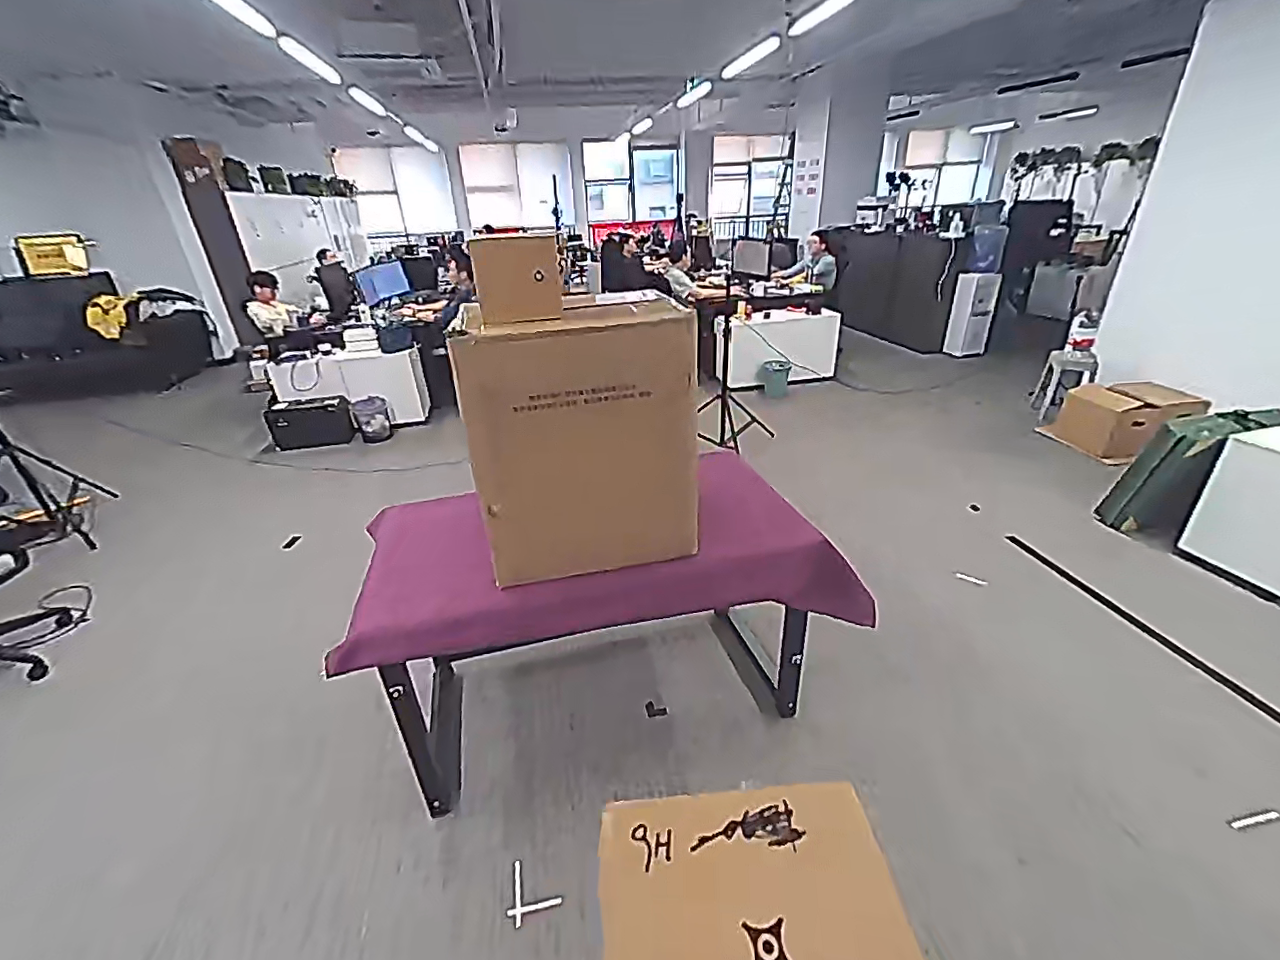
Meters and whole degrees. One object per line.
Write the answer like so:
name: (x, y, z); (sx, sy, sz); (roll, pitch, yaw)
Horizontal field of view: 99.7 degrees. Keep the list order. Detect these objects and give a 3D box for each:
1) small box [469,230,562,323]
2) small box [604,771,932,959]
small box: (-0.270, -0.450, 1.189); (0.179, 0.176, 0.168); (-9, 27, -11)
small box: (0.065, 0.307, 0.327); (0.168, 0.176, 0.179); (-2, 39, -7)
